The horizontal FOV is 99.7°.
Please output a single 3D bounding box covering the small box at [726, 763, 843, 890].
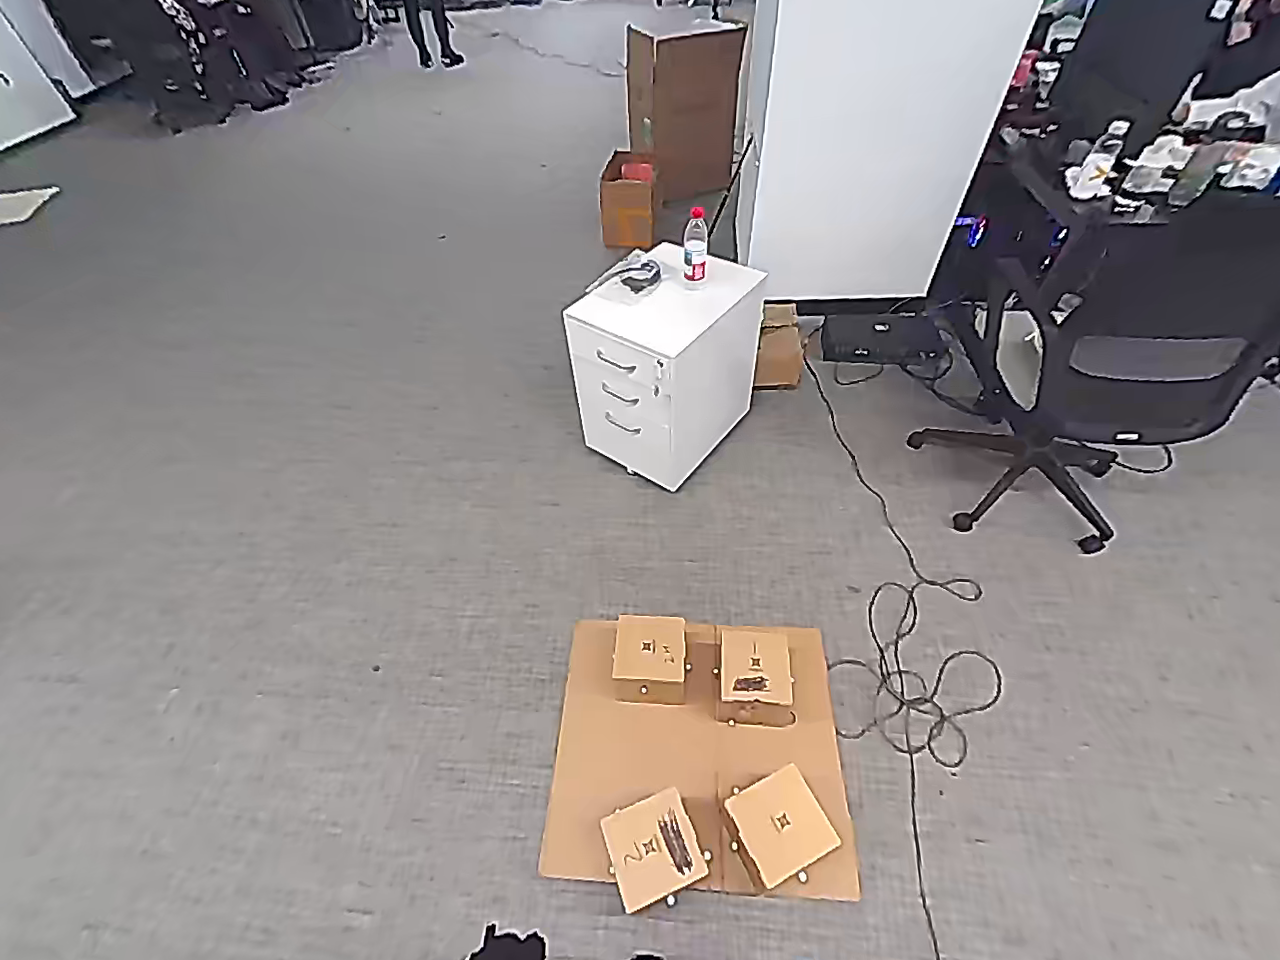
[{"bbox_3d":[0.299,0.744,1.162,0.179,0.176,0.168,-23,51,-12],"label":"small box"}]
